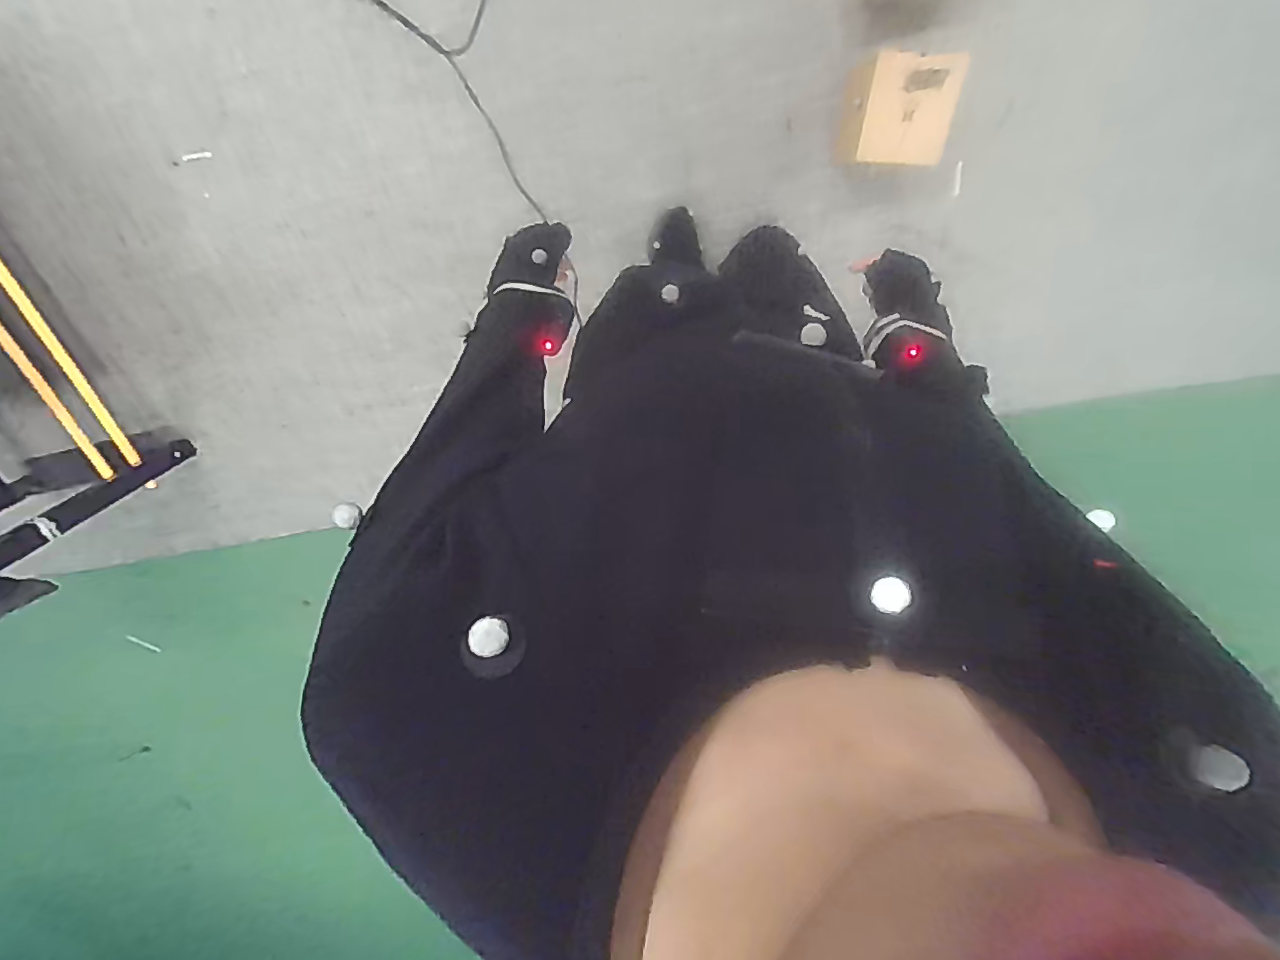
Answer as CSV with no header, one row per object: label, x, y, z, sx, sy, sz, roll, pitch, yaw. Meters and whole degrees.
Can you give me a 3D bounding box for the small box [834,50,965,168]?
small box,0.505,-0.733,1.084,0.168,0.176,0.179,3,120,0
